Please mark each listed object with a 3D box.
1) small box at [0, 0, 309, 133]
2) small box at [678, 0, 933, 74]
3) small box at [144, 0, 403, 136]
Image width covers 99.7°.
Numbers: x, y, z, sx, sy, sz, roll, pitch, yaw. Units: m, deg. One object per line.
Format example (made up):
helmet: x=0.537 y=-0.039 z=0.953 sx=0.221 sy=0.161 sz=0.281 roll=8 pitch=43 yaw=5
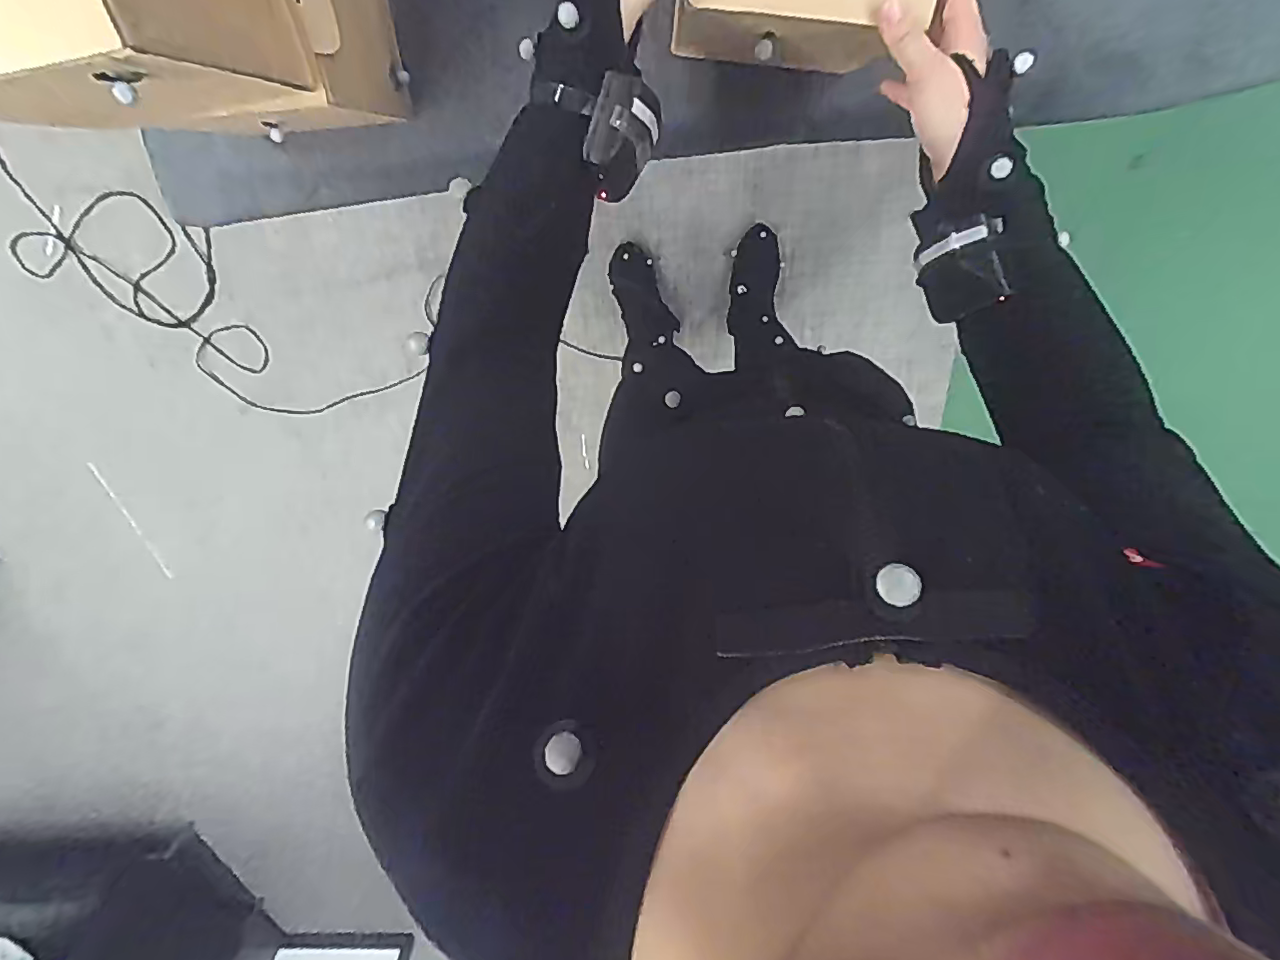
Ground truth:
small box: x=-0.345 y=-0.314 z=0.313 sx=0.179 sy=0.176 sz=0.168 roll=-6 pitch=120 yaw=6
small box: x=0.124 y=-0.428 z=0.411 sx=0.179 sy=0.176 sz=0.168 roll=5 pitch=119 yaw=-1
small box: x=-0.323 y=-0.393 z=0.453 sx=0.179 sy=0.176 sz=0.168 roll=-2 pitch=120 yaw=5
